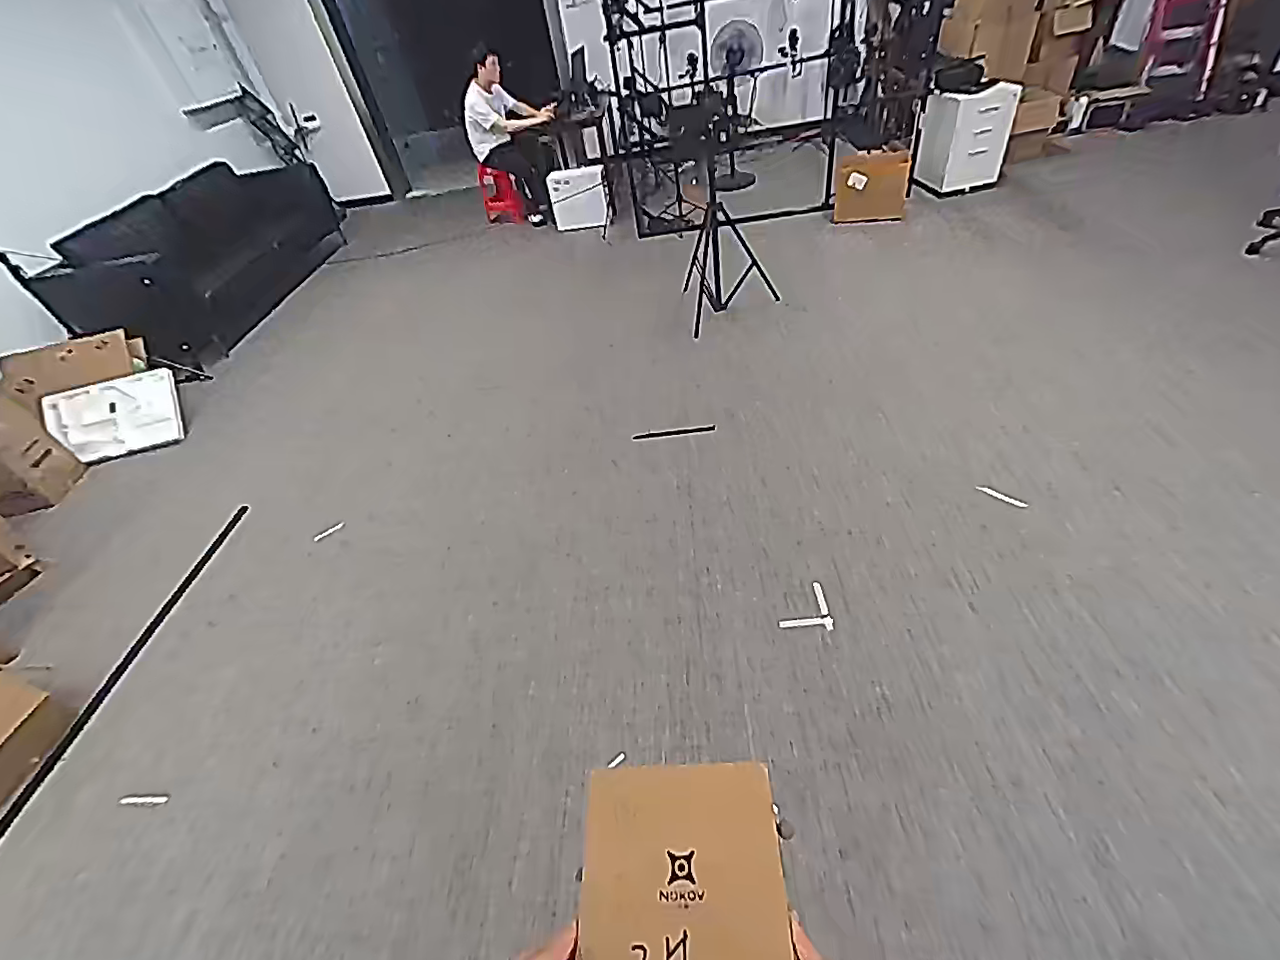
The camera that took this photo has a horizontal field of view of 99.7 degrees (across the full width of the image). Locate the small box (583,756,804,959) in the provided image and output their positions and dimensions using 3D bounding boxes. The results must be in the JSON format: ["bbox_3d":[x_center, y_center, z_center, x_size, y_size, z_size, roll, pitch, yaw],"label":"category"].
[{"bbox_3d":[0.050,0.370,0.490,0.168,0.176,0.179,-5,47,7],"label":"small box"}]
